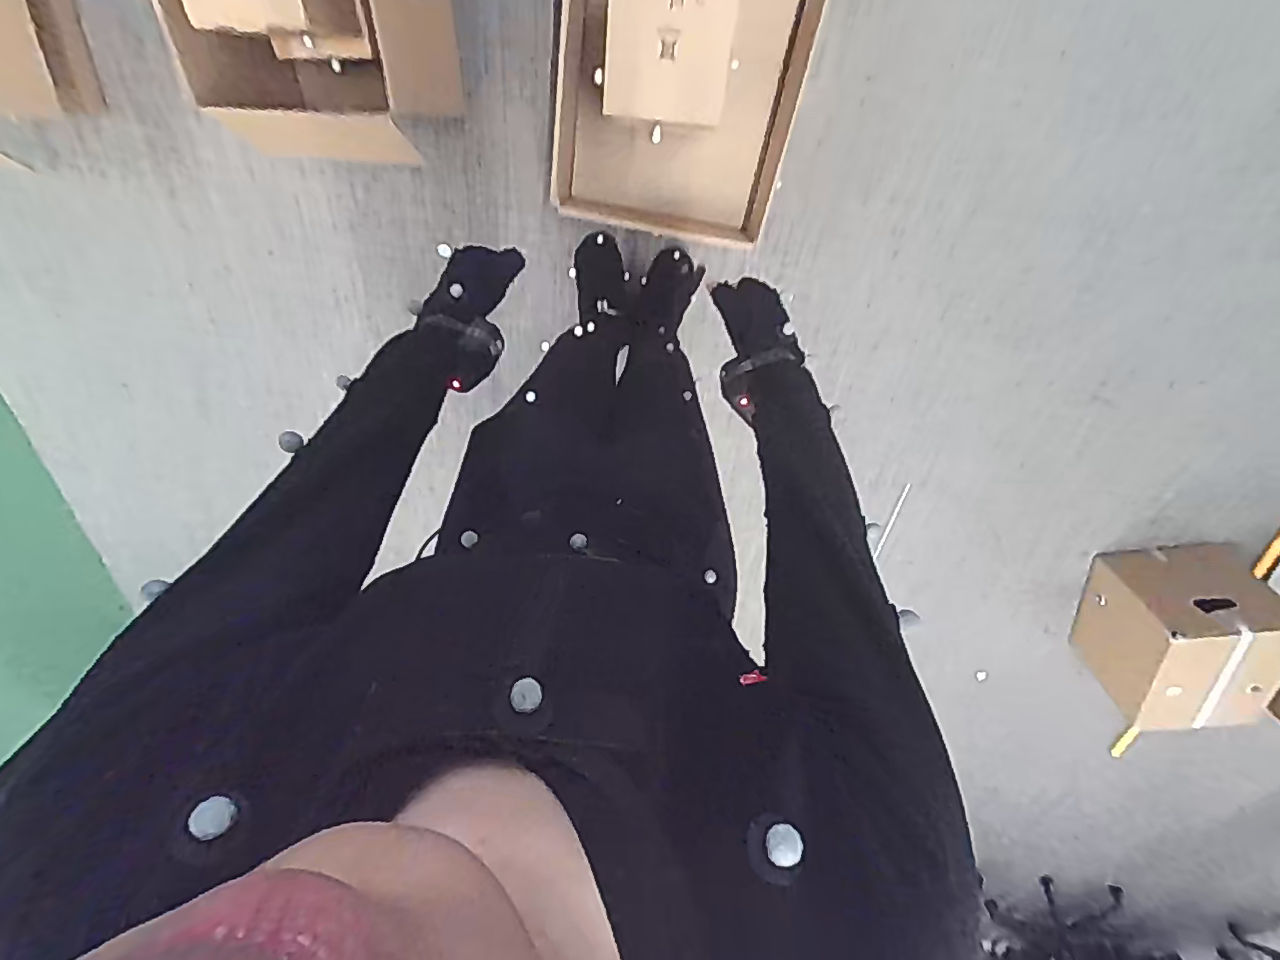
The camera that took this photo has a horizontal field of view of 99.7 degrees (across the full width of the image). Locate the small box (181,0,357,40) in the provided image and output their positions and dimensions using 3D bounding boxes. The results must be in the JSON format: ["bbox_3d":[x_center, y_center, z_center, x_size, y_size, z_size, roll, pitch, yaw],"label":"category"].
[{"bbox_3d":[-0.527,-0.732,0.753,0.168,0.176,0.179,2,125,1],"label":"small box"}]

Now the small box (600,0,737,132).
[{"bbox_3d":[0.038,-0.608,0.770,0.168,0.176,0.179,5,122,-2],"label":"small box"}]
